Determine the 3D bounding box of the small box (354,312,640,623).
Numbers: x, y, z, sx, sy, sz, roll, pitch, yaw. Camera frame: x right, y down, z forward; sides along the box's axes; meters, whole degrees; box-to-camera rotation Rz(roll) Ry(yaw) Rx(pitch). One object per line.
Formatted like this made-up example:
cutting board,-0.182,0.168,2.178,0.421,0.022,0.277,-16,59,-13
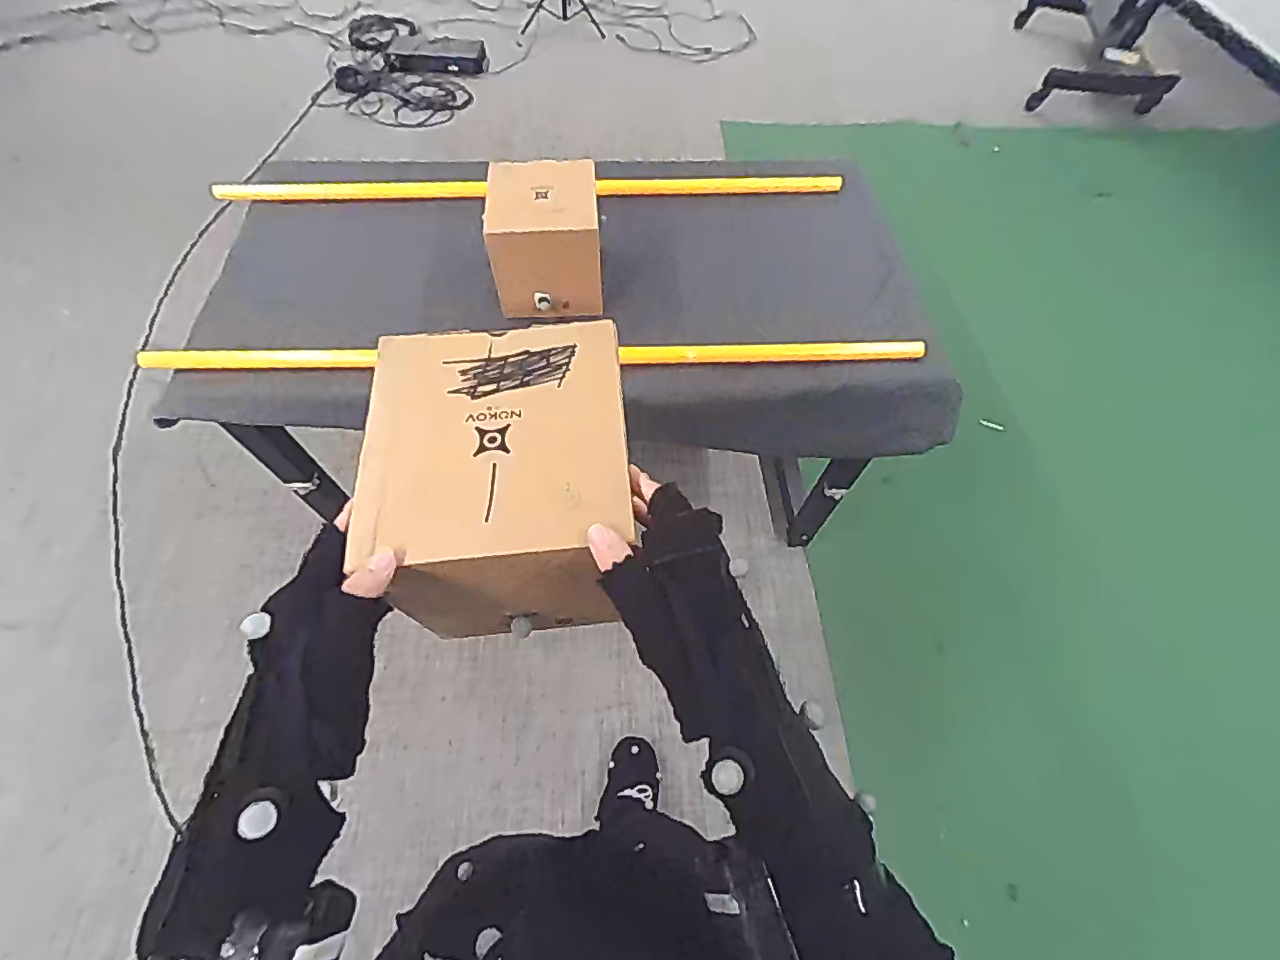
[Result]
small box,-0.090,-0.002,0.422,0.168,0.176,0.179,-6,62,-1

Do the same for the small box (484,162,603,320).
small box,-0.151,-0.388,0.887,0.168,0.176,0.179,-5,62,-3
